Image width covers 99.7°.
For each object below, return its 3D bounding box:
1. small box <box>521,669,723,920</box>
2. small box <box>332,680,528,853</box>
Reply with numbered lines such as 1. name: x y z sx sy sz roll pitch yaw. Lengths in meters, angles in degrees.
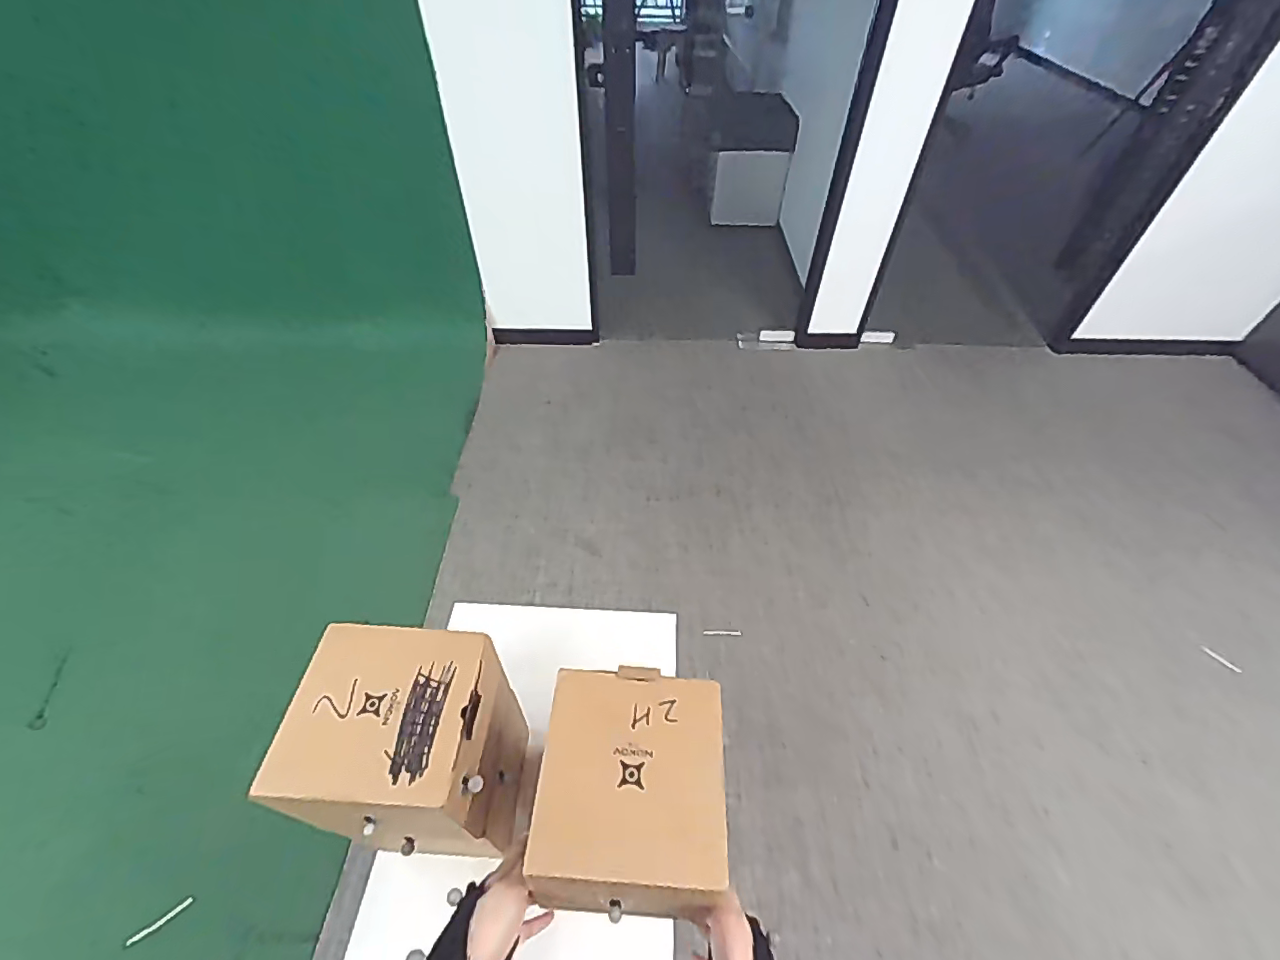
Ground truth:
1. small box: -0.012 0.316 0.541 0.168 0.176 0.179 5 44 0
2. small box: -0.257 0.380 0.712 0.179 0.176 0.168 3 49 0
